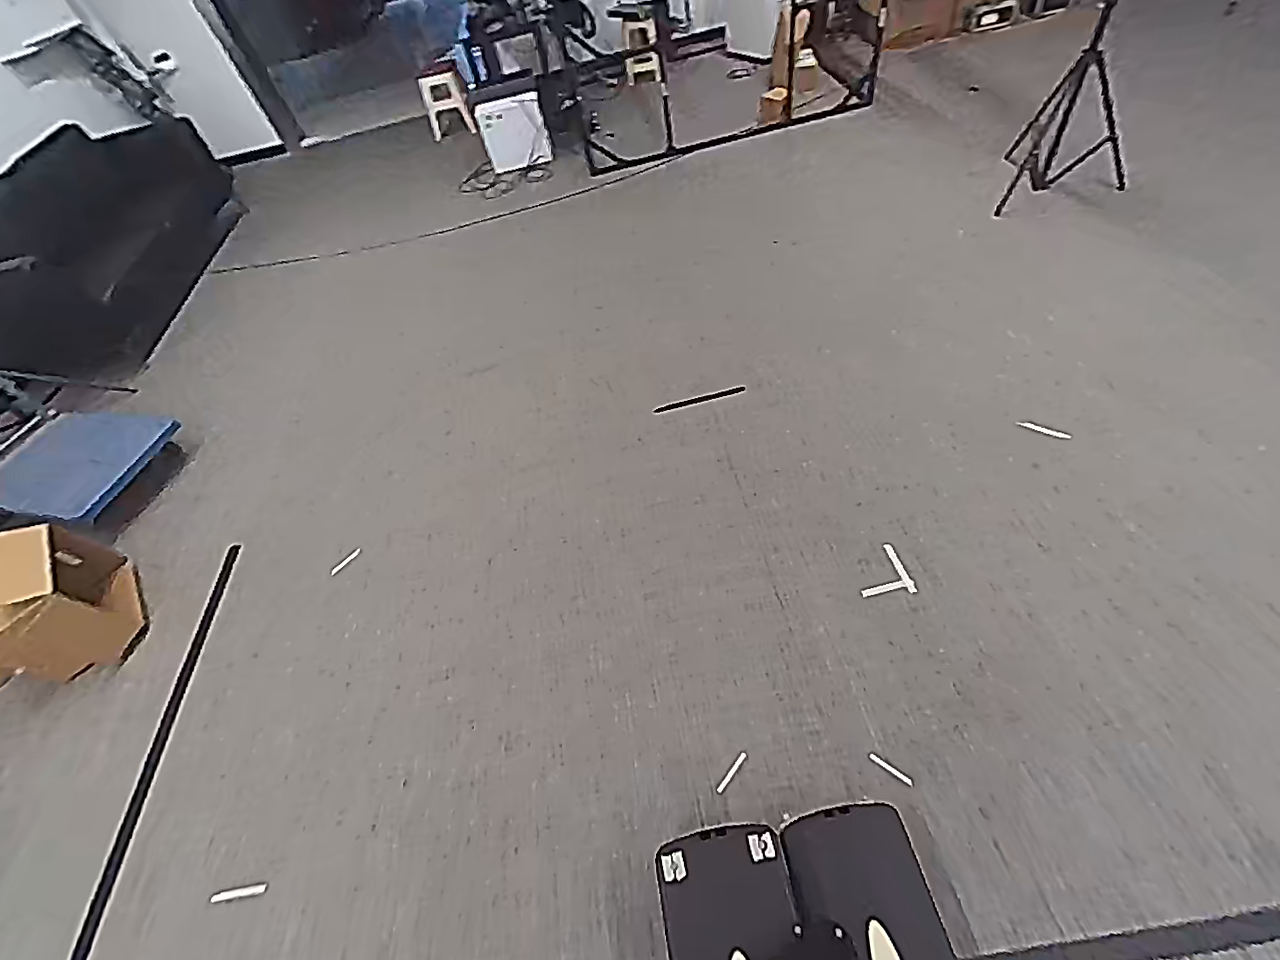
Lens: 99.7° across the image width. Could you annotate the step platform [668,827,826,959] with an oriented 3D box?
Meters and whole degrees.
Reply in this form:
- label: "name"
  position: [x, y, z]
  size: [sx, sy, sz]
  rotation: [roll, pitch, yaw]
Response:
- label: "step platform"
  position: [0.254, 1.084, 1.052]
  size: [0.286, 0.204, 0.684]
  rotation: [-14, 50, 1]
